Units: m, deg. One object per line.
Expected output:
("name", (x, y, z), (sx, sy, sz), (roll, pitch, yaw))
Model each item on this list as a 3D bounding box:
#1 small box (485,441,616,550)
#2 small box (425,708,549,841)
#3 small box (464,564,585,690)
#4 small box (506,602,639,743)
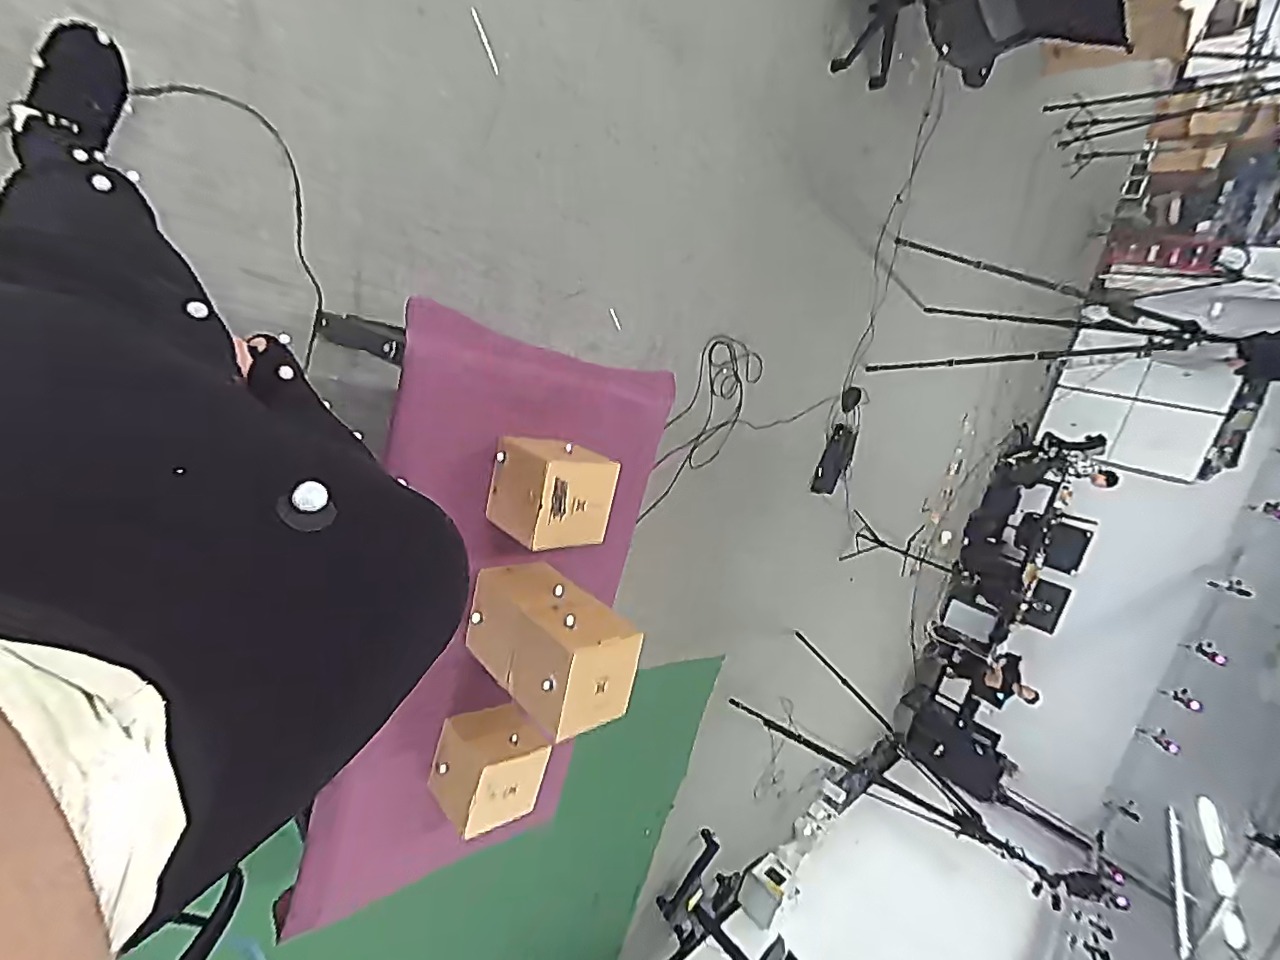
("small box", (-0.178, 0.025, 1.054), (0.179, 0.176, 0.168), (1, 108, -47))
("small box", (-0.334, 0.622, 1.173), (0.179, 0.176, 0.168), (10, 100, -47))
("small box", (-0.243, 0.293, 1.115), (0.168, 0.176, 0.179), (1, 108, -46))
("small box", (-0.131, 0.341, 1.006), (0.168, 0.176, 0.179), (1, 107, -45))
